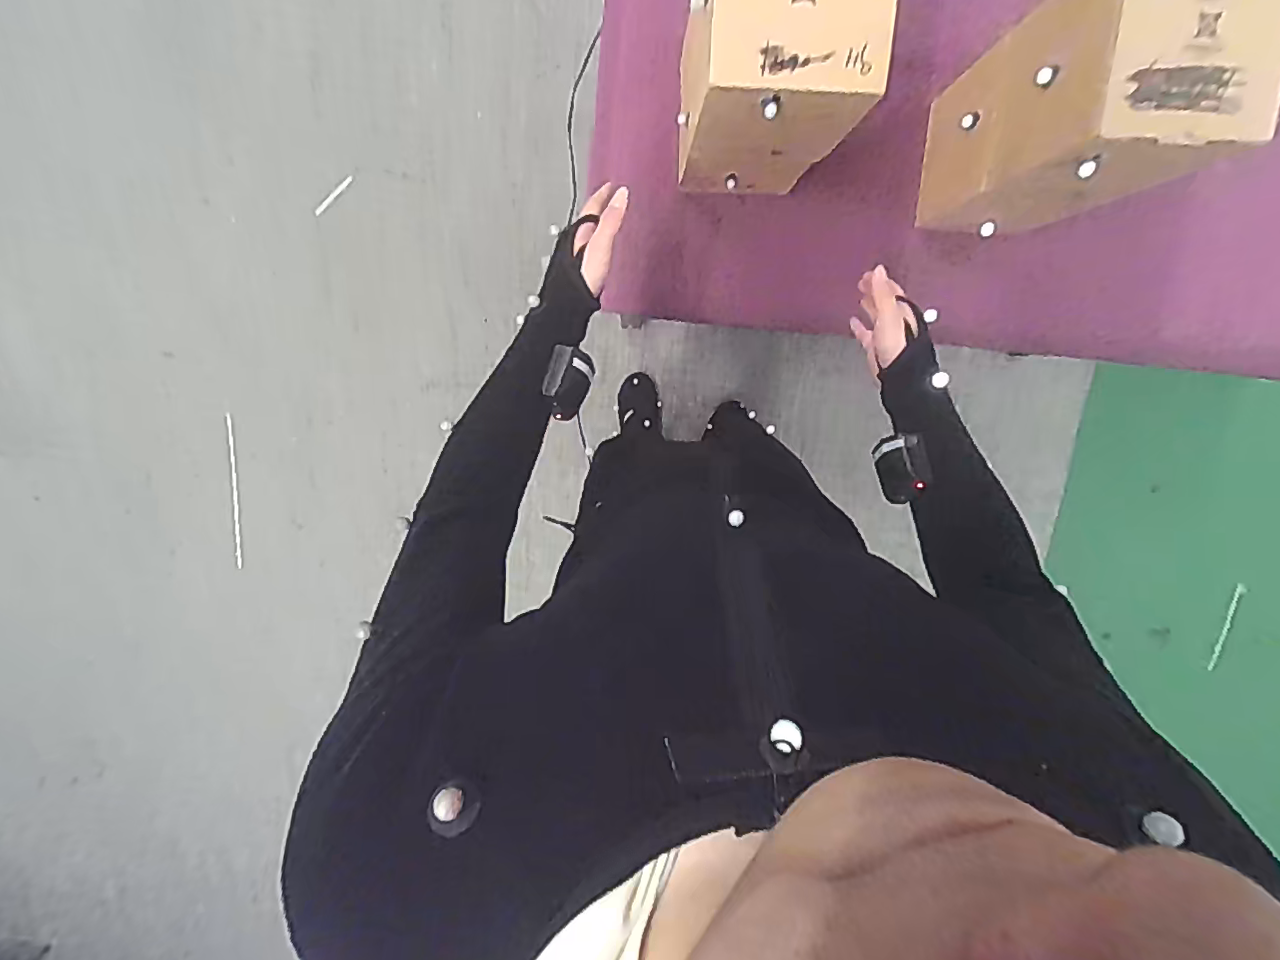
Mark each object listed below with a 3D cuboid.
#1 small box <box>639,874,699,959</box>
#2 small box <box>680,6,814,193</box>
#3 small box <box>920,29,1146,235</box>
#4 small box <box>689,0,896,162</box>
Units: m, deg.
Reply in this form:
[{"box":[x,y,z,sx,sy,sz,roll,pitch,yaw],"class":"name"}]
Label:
[{"box":[0.089,1.433,1.762,0.168,0.176,0.179,8,102,-2],"class":"small box"},{"box":[0.141,-0.499,0.706,0.168,0.176,0.179,0,102,-1],"class":"small box"},{"box":[0.501,-0.445,0.719,0.168,0.176,0.179,3,101,-1],"class":"small box"},{"box":[0.142,-0.454,0.548,0.168,0.176,0.179,2,101,-1],"class":"small box"}]
